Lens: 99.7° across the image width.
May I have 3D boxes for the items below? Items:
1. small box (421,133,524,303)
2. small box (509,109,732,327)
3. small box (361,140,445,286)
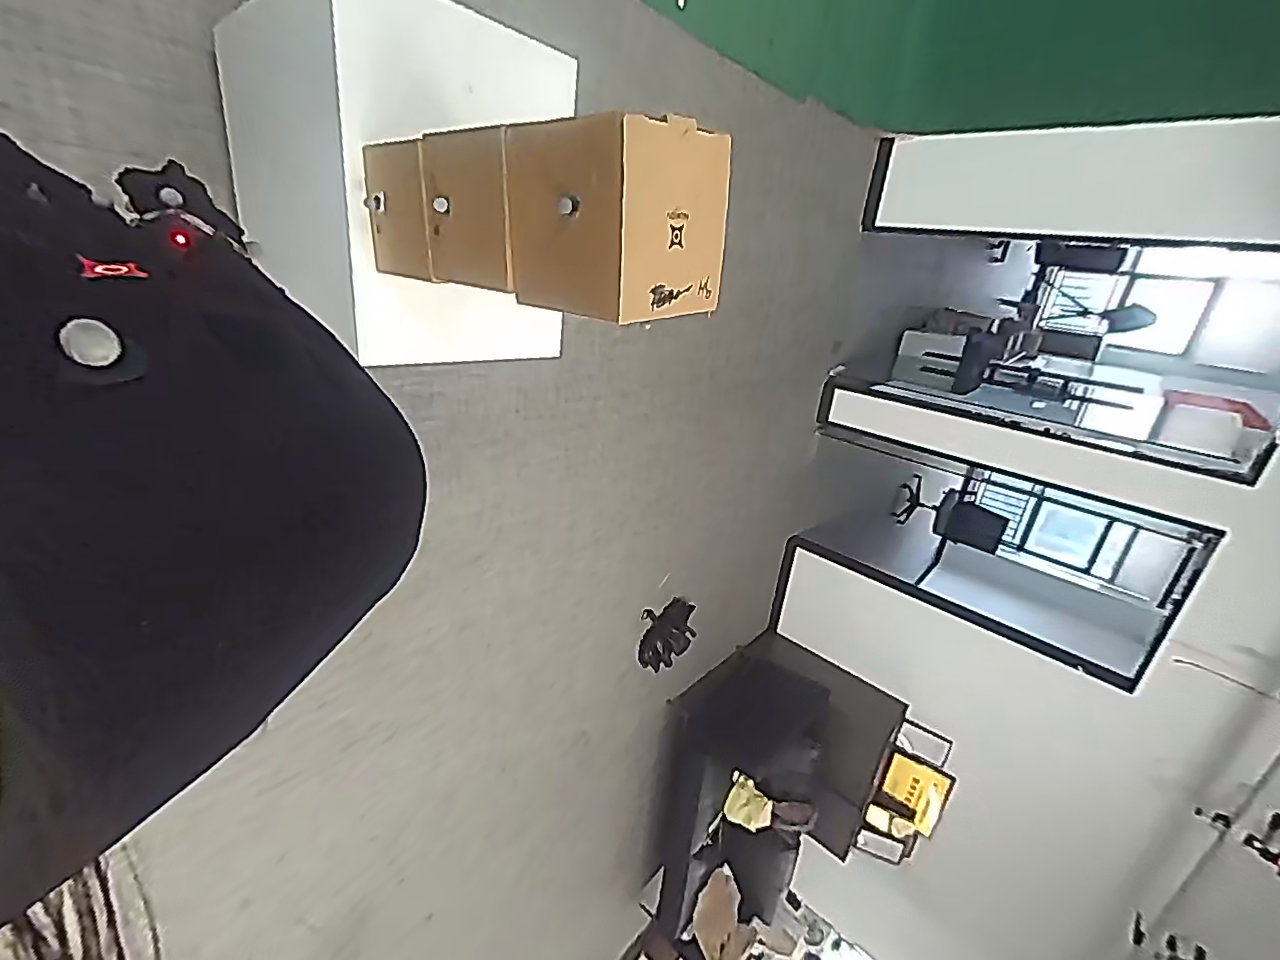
[{"bbox_3d":[-0.142,-0.323,0.673,0.179,0.176,0.168,-25,127,-43],"label":"small box"},{"bbox_3d":[-0.023,-0.268,0.574,0.168,0.176,0.179,-23,125,-42],"label":"small box"},{"bbox_3d":[-0.265,-0.372,0.769,0.179,0.176,0.168,-21,124,-42],"label":"small box"}]
